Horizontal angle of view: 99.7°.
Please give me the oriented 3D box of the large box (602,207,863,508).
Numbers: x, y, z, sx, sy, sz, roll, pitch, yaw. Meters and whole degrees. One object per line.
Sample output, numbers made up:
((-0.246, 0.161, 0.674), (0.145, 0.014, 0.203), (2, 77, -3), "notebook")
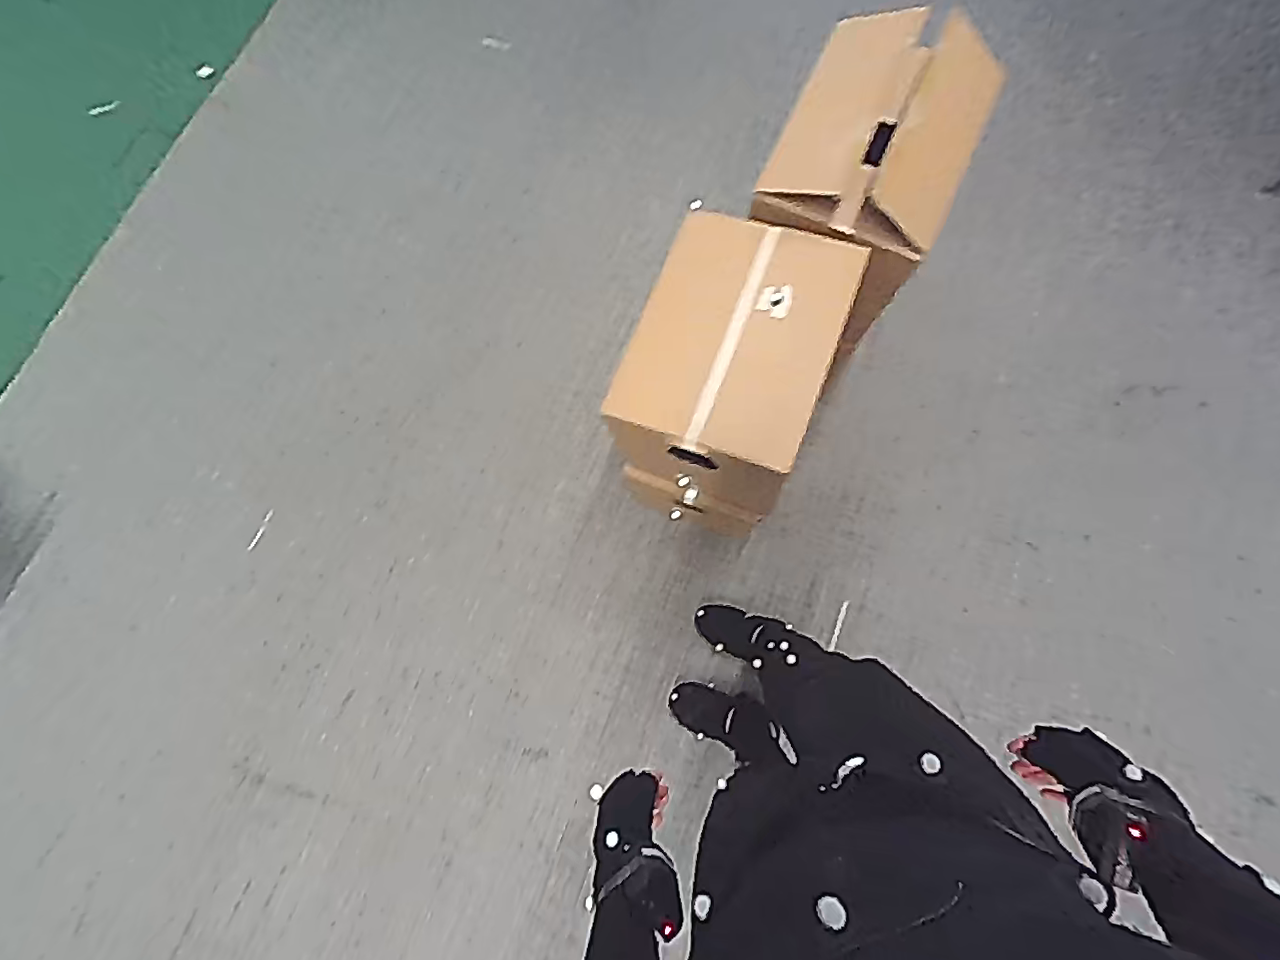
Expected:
((0.171, -0.206, 1.000), (0.320, 0.320, 0.408), (20, 78, 13), "large box")
